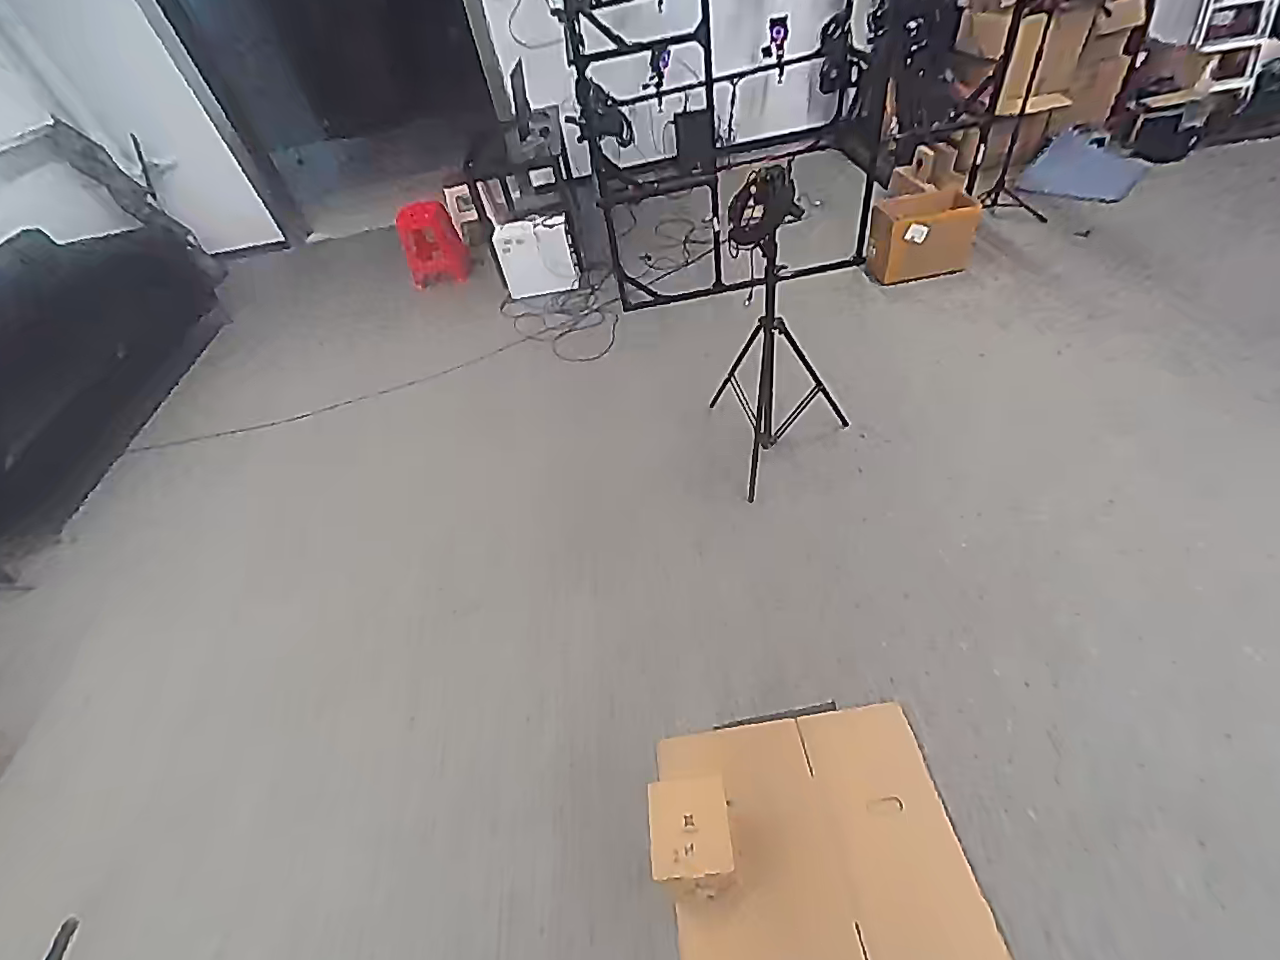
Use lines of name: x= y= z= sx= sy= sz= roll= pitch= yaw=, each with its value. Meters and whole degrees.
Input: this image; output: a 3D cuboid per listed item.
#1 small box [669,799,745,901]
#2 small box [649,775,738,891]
small box: x=0.152 y=0.874 z=1.273 sx=0.168 sy=0.176 sz=0.179 roll=-9 pitch=47 yaw=4
small box: x=0.114 y=0.759 z=1.160 sx=0.168 sy=0.176 sz=0.179 roll=-9 pitch=46 yaw=5
